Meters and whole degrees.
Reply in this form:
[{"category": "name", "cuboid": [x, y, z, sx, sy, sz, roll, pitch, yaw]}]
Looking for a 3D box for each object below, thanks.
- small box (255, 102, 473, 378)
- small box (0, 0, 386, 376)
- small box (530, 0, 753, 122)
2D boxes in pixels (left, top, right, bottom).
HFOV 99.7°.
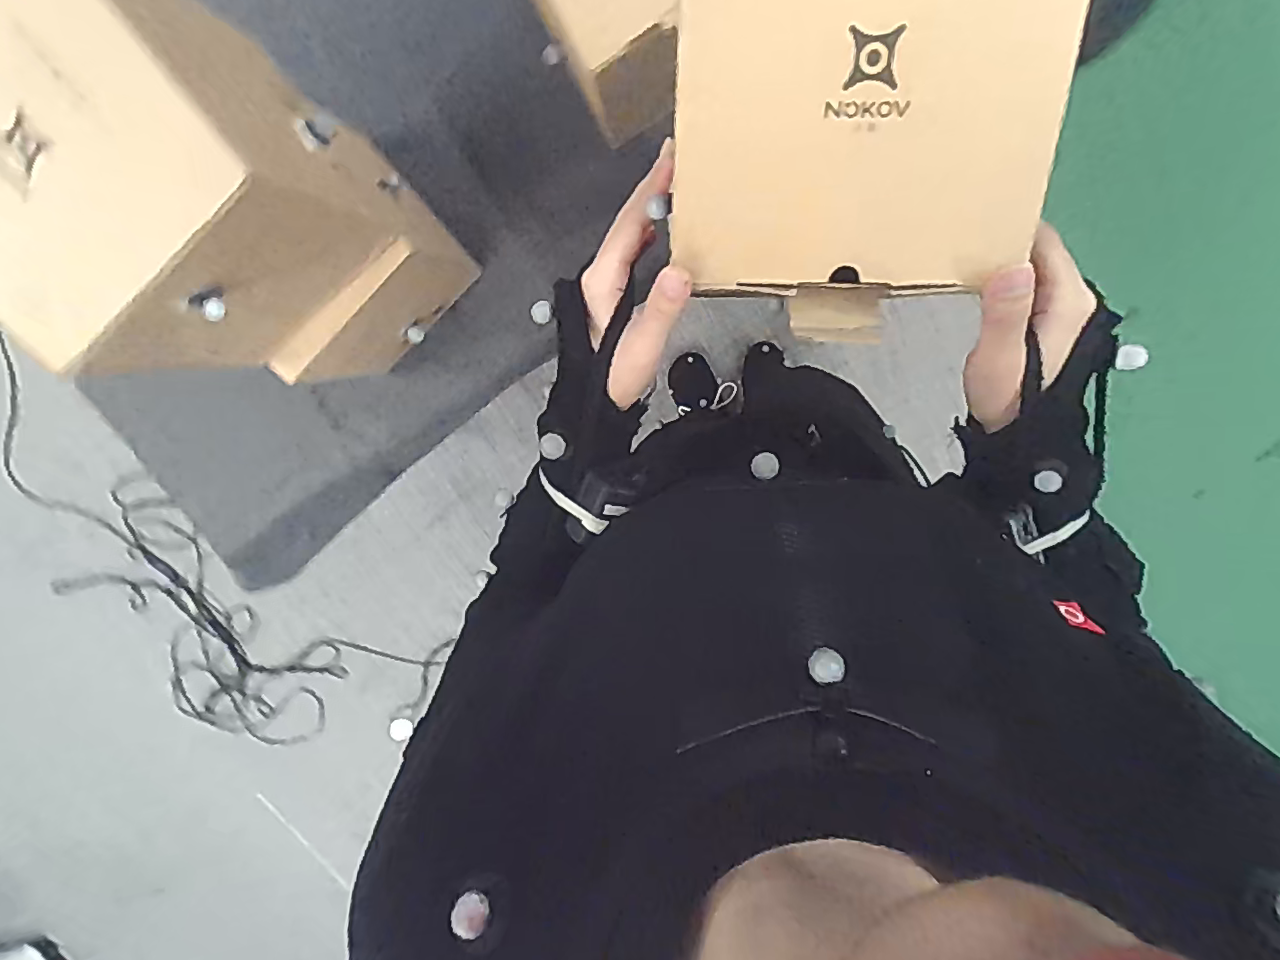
[{"category": "small box", "cuboid": [-0.294, -0.218, 0.507, 0.168, 0.176, 0.179, -41, 100, 13]}, {"category": "small box", "cuboid": [-0.308, -0.189, 0.347, 0.179, 0.176, 0.168, -37, 102, 11]}, {"category": "small box", "cuboid": [-0.012, -0.428, 0.434, 0.168, 0.176, 0.179, -30, 102, 11]}]
